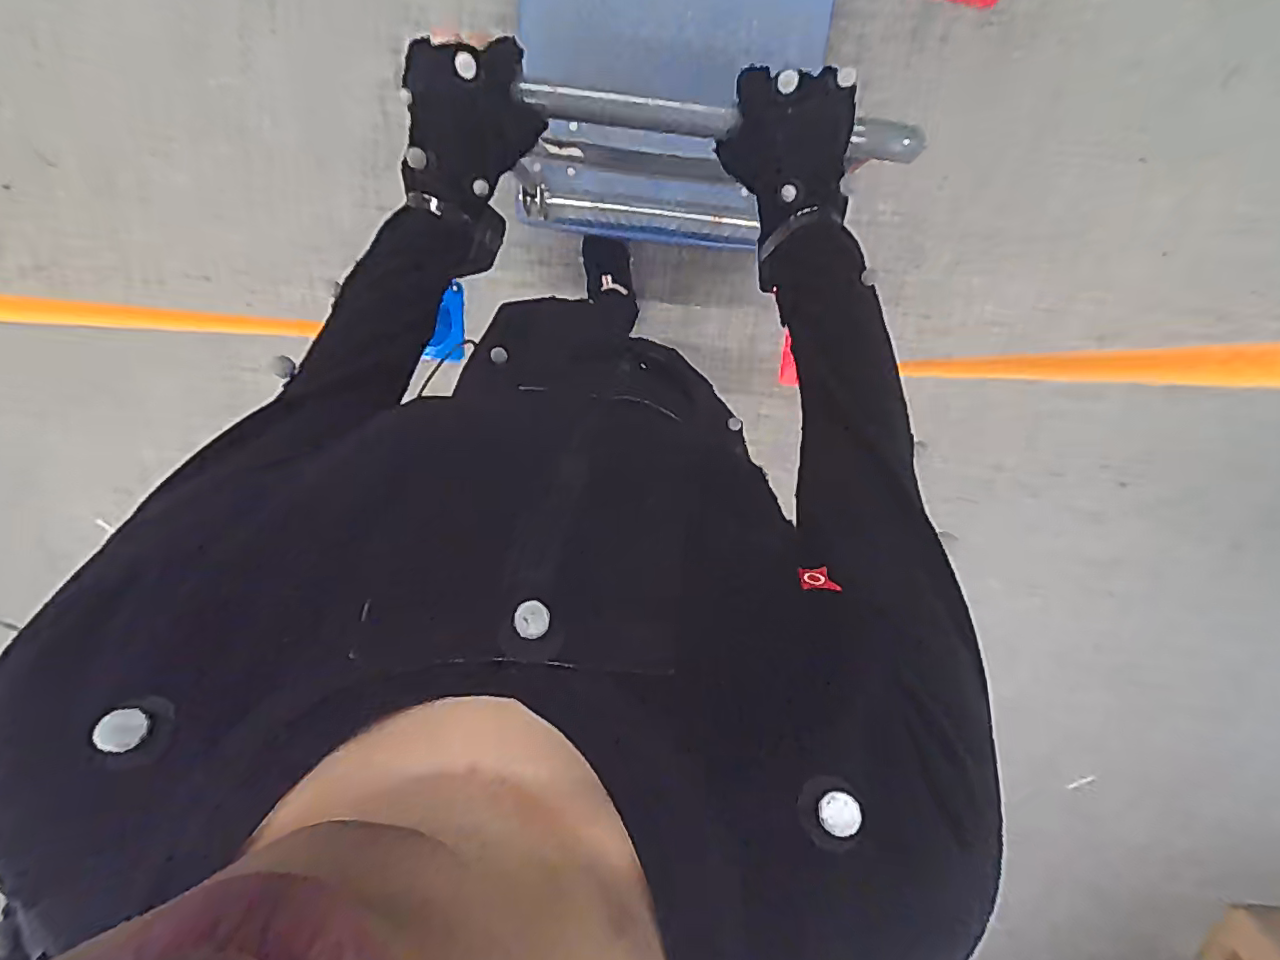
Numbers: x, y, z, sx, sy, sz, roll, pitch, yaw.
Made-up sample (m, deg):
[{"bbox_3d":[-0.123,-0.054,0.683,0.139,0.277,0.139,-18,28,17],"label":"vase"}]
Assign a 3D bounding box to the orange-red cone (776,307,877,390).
[{"bbox_3d":[0.448,-0.277,1.212,0.199,0.360,0.198,6,109,1],"label":"orange-red cone"}]
